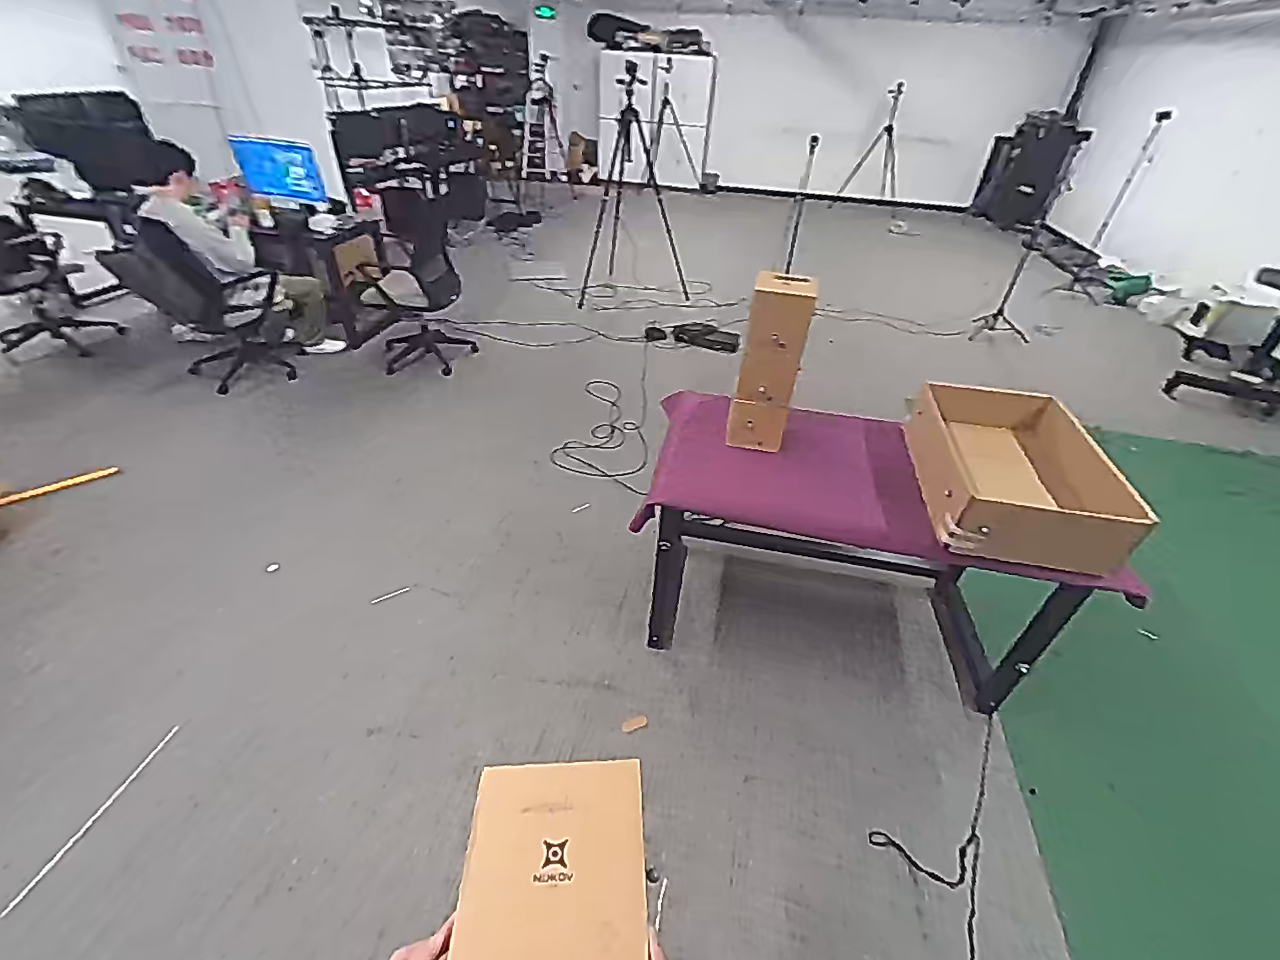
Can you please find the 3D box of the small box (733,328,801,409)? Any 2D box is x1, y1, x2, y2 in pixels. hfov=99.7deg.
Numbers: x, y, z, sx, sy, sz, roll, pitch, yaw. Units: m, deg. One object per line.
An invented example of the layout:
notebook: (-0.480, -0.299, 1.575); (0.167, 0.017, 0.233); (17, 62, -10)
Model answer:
small box: (0.381, -0.337, 1.627); (0.168, 0.176, 0.179); (11, 38, 10)

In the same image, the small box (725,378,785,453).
small box: (0.366, -0.205, 1.725); (0.168, 0.176, 0.179); (8, 37, 7)

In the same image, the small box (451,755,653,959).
small box: (-0.072, 0.405, 0.540); (0.168, 0.176, 0.179); (-1, 35, -2)
